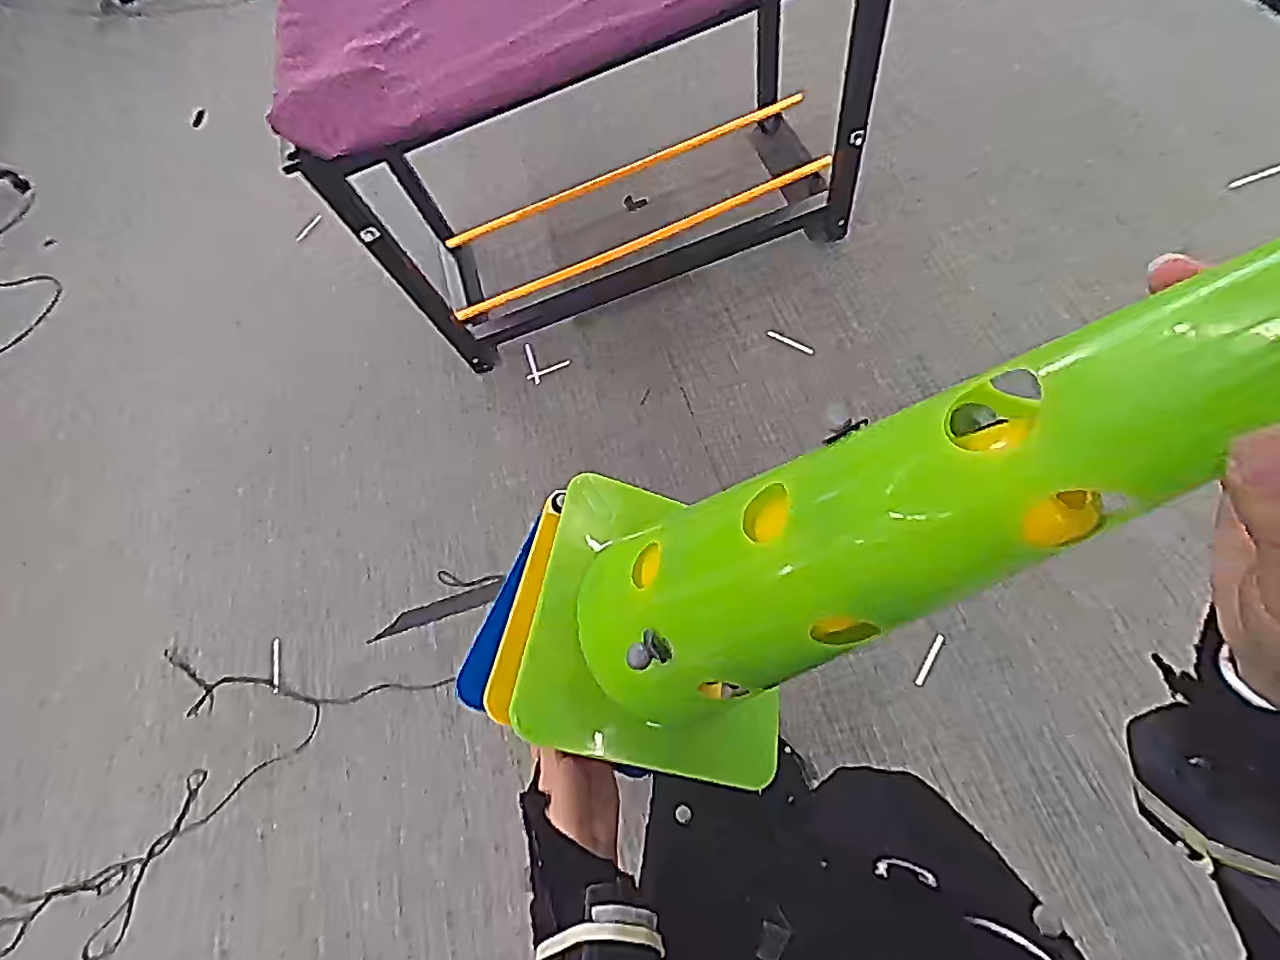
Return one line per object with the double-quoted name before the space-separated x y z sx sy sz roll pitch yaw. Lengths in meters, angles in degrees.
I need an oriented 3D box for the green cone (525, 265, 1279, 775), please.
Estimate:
"green cone" 0.096 0.026 0.259 0.200 0.368 0.202 20 60 -15
